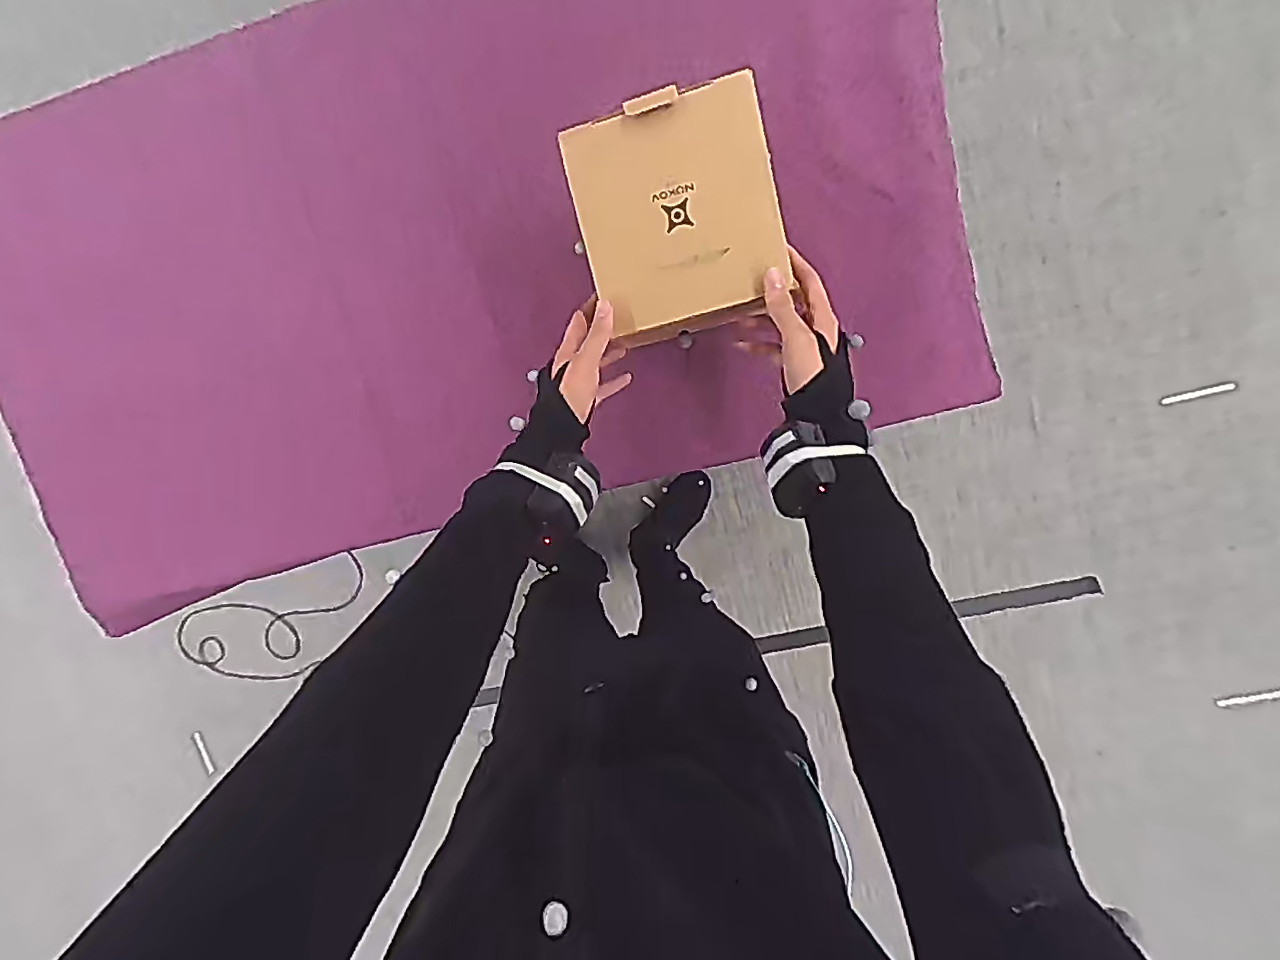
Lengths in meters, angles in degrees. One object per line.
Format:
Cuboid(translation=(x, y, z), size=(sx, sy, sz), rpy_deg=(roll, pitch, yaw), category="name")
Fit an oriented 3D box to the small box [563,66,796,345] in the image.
Cuboid(translation=(0.040, -0.238, 0.521), size=(0.168, 0.176, 0.179), rpy_deg=(-12, 99, 8), category="small box")
